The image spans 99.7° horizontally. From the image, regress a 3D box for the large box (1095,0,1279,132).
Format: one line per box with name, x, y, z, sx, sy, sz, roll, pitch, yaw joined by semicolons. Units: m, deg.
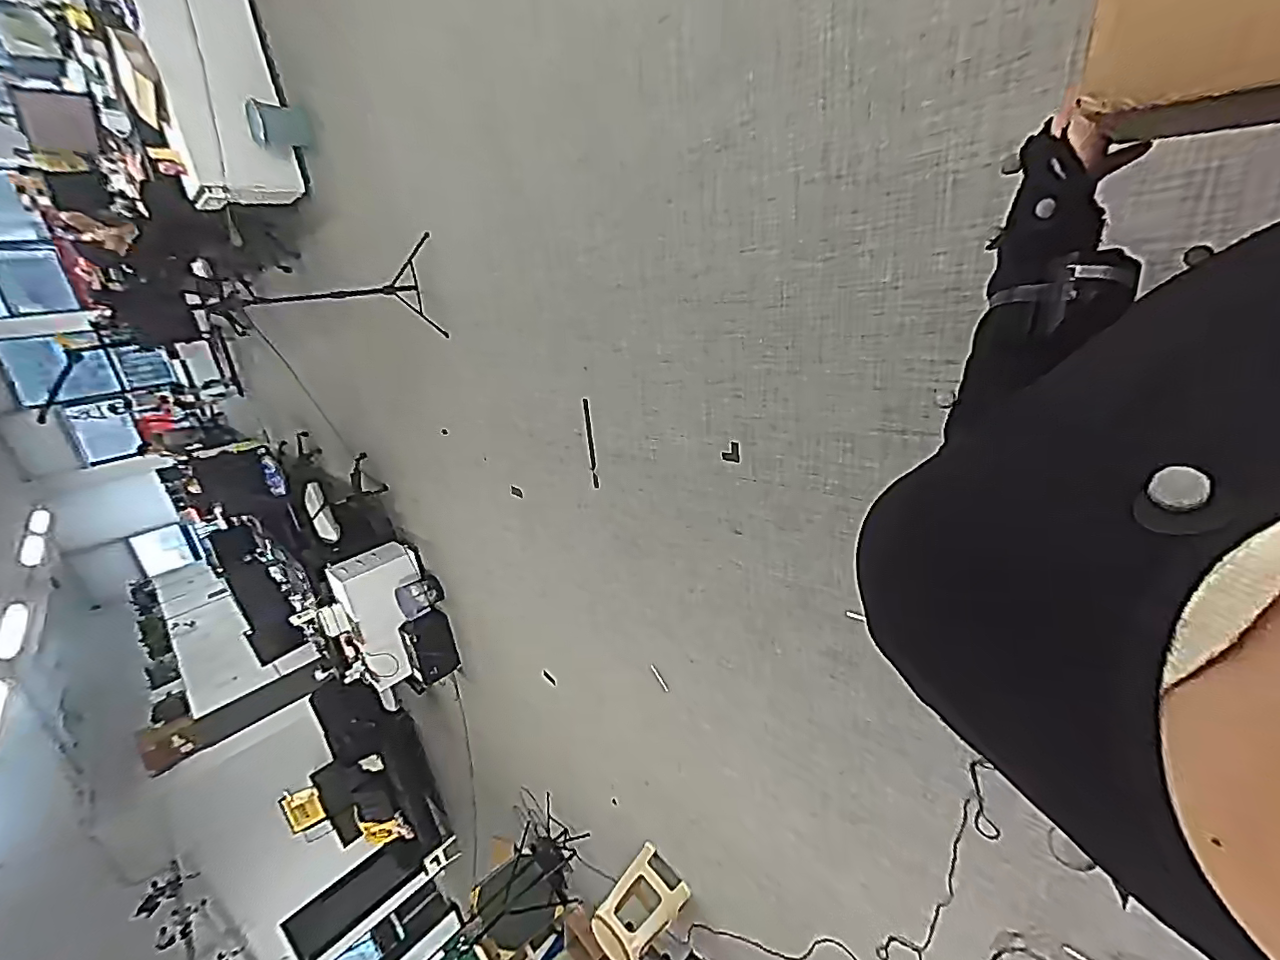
large box;0.419;-0.327;0.153;0.408;0.320;0.320;13;122;37
